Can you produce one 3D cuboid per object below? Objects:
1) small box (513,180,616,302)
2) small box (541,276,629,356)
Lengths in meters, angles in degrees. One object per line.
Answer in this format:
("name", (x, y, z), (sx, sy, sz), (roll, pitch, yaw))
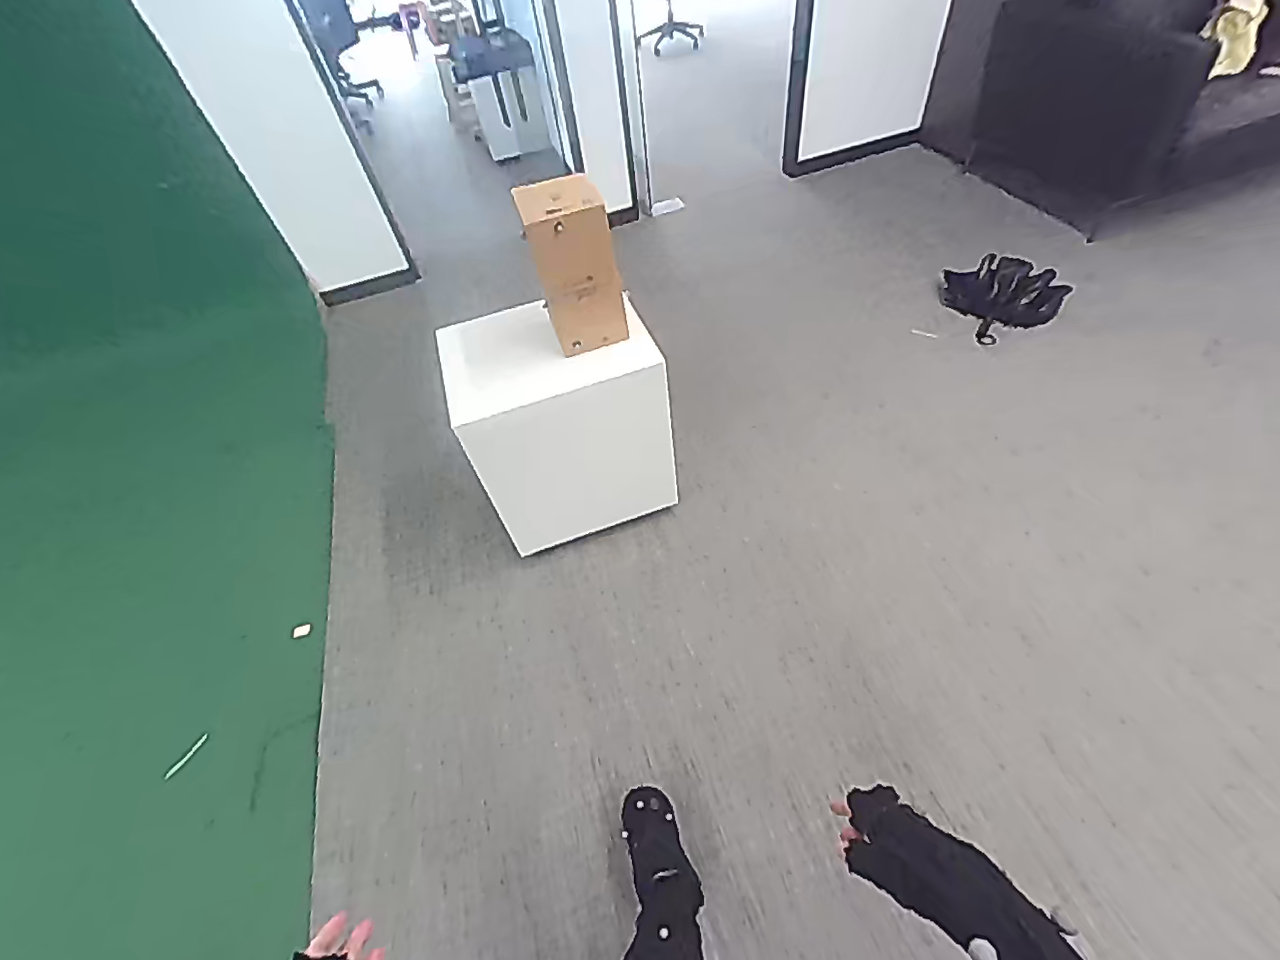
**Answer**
("small box", (-0.161, -0.517, 1.173), (0.168, 0.176, 0.179), (-19, 50, -5))
("small box", (-0.134, -0.421, 1.303), (0.168, 0.176, 0.179), (-20, 50, -6))
